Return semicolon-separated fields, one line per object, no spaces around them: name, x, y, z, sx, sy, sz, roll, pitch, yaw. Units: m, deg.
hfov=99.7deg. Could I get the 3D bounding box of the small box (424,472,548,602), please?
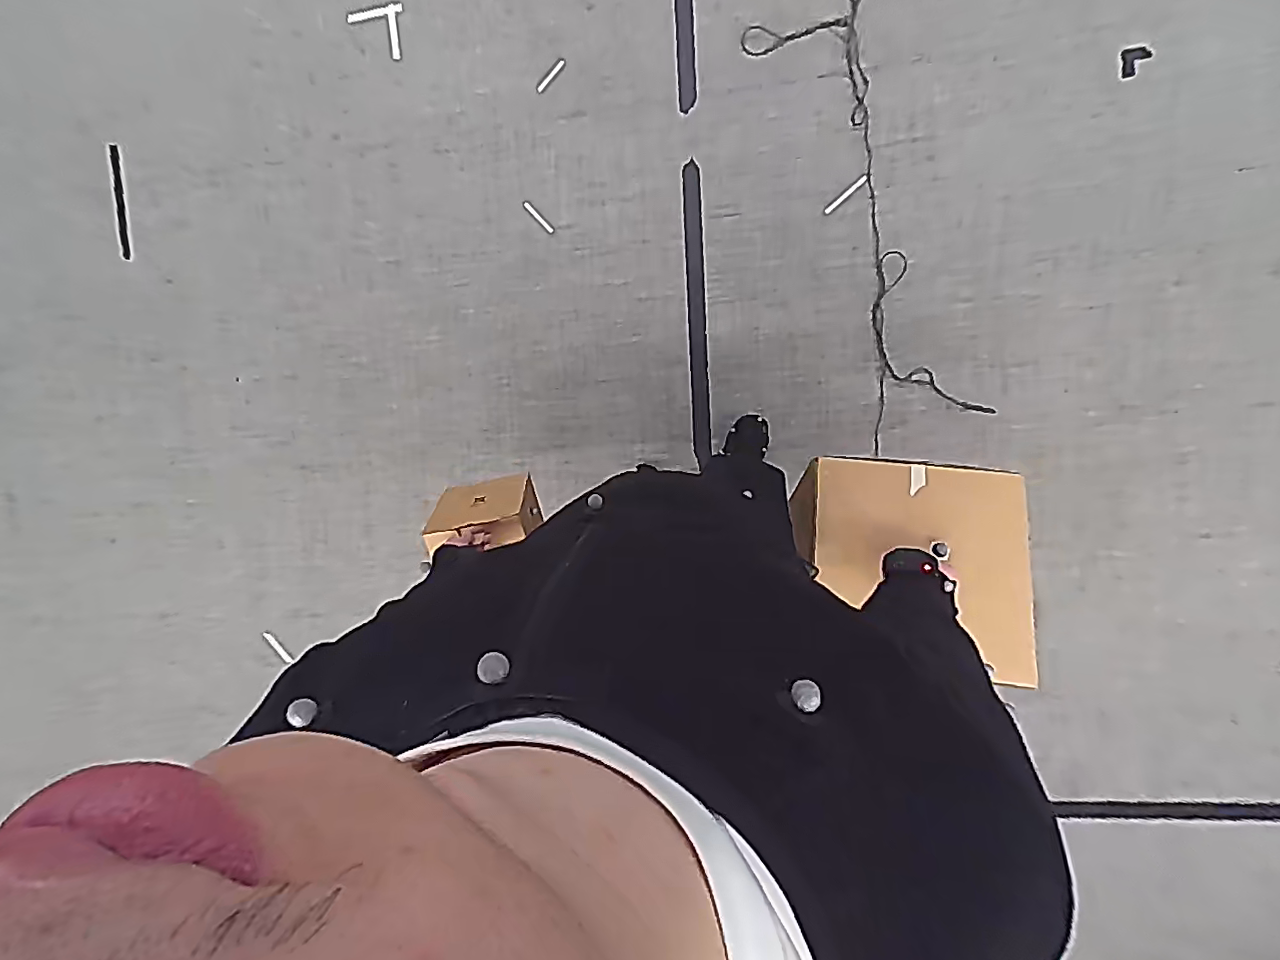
small box;-0.273;0.109;1.005;0.168;0.179;0.176;-11;116;-1
